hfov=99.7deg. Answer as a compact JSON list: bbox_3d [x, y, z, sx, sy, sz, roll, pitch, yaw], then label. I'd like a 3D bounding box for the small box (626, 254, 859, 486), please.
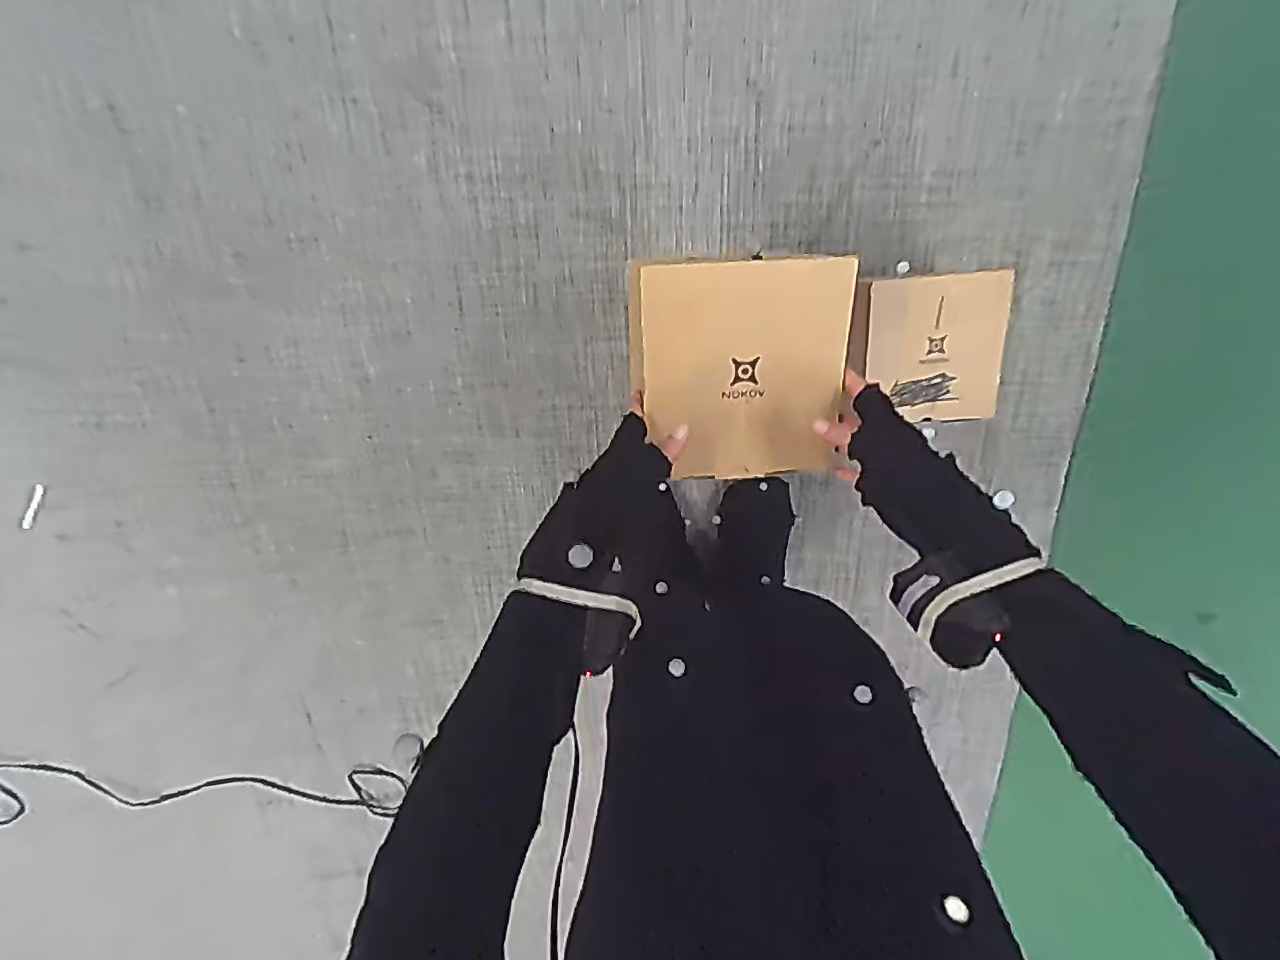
[{"bbox_3d":[0.075,-0.110,0.495,0.168,0.176,0.179,-3,115,-3],"label":"small box"}]

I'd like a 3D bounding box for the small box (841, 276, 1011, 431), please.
[{"bbox_3d":[0.347,-0.173,0.719,0.168,0.176,0.179,-4,109,1],"label":"small box"}]
